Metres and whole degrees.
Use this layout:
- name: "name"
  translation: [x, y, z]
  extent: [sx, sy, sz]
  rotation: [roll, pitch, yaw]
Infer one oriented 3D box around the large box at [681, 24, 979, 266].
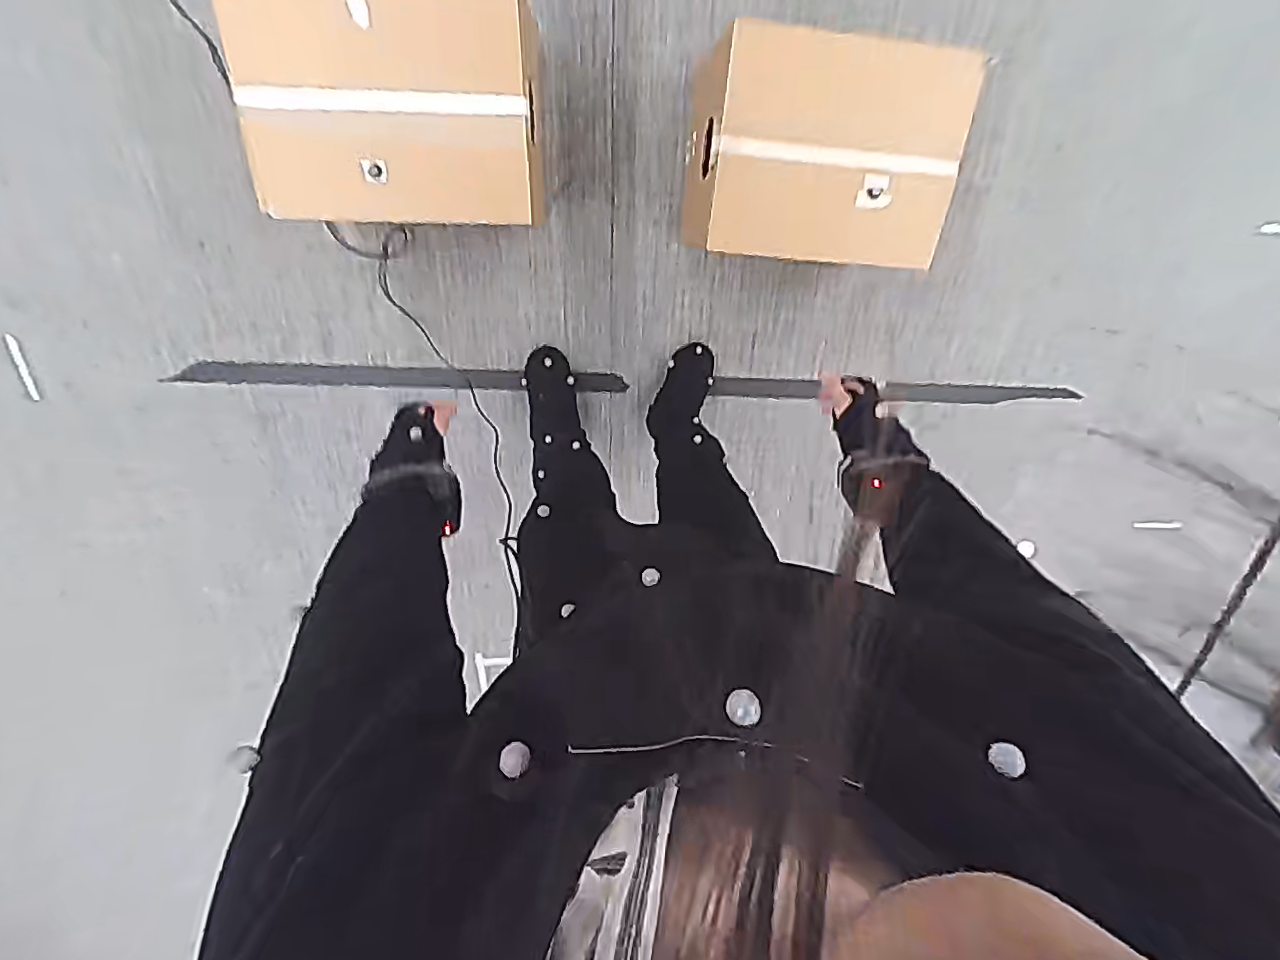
- name: "large box"
  translation: [0.307, -0.585, 1.012]
  extent: [0.408, 0.320, 0.320]
  rotation: [2, 115, -7]
